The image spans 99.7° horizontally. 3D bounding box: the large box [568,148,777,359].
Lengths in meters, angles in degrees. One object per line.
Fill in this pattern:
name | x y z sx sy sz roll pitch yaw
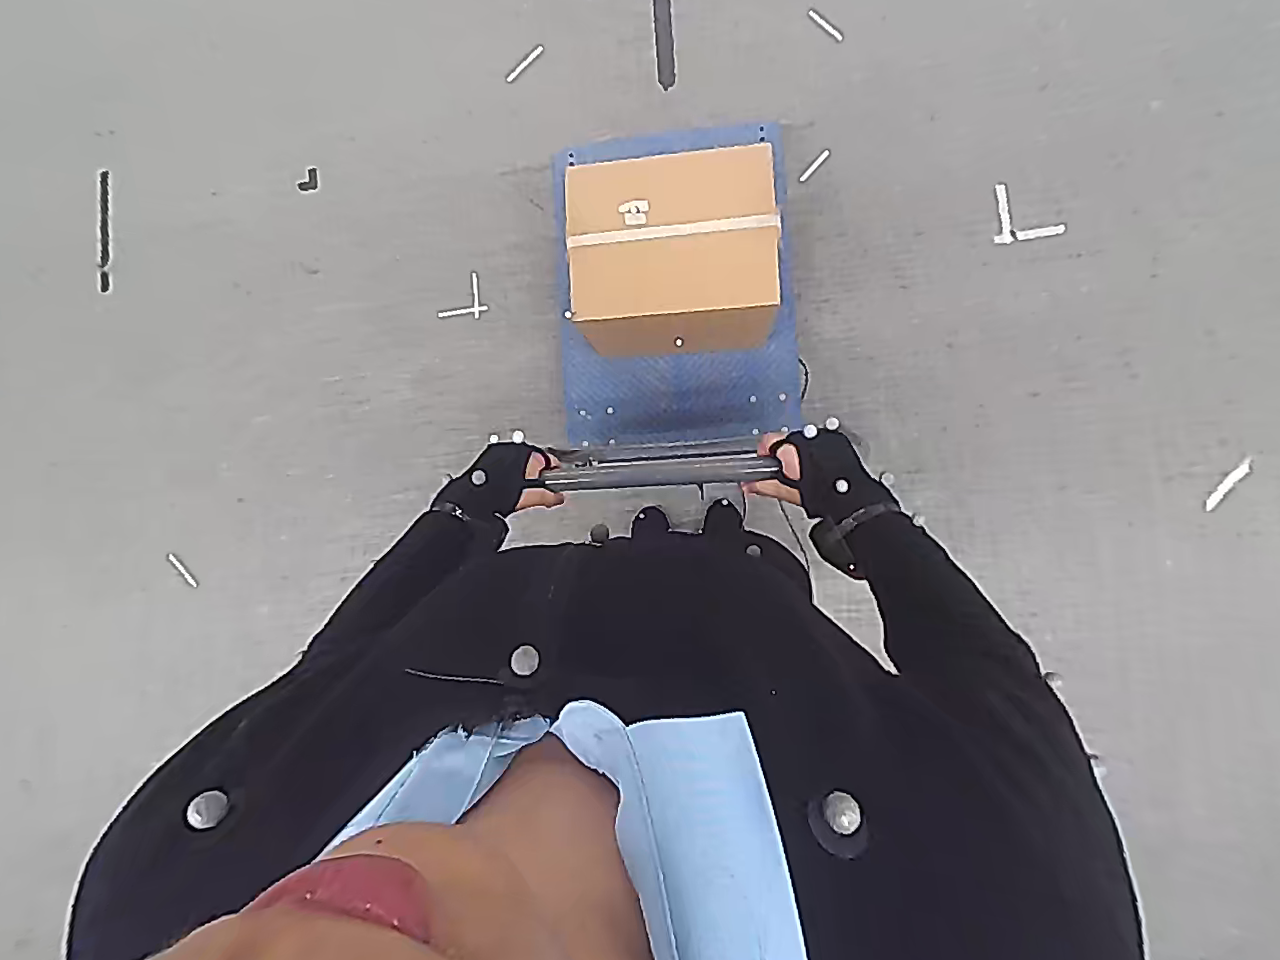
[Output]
large box | 0.079 -0.471 1.207 0.408 0.320 0.320 -3 87 8
